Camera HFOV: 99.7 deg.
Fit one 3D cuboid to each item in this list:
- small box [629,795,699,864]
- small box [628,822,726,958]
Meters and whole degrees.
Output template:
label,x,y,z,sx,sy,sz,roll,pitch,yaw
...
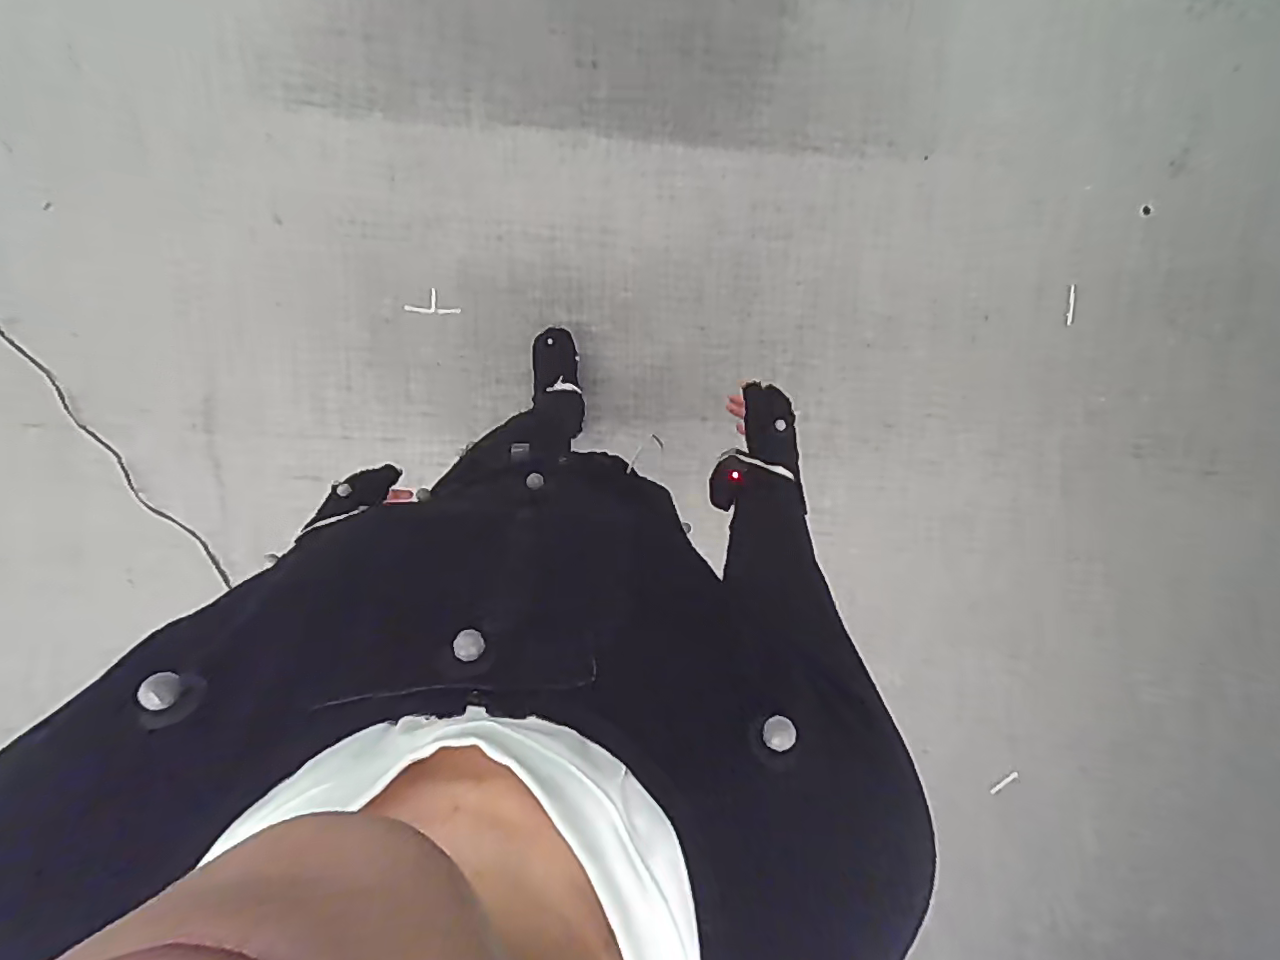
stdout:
label,x,y,z,sx,sy,sz,roll,pitch,yaw
small box,0.061,0.994,1.472,0.179,0.176,0.168,-3,96,-5
small box,0.080,0.992,1.325,0.168,0.176,0.179,32,93,-7
